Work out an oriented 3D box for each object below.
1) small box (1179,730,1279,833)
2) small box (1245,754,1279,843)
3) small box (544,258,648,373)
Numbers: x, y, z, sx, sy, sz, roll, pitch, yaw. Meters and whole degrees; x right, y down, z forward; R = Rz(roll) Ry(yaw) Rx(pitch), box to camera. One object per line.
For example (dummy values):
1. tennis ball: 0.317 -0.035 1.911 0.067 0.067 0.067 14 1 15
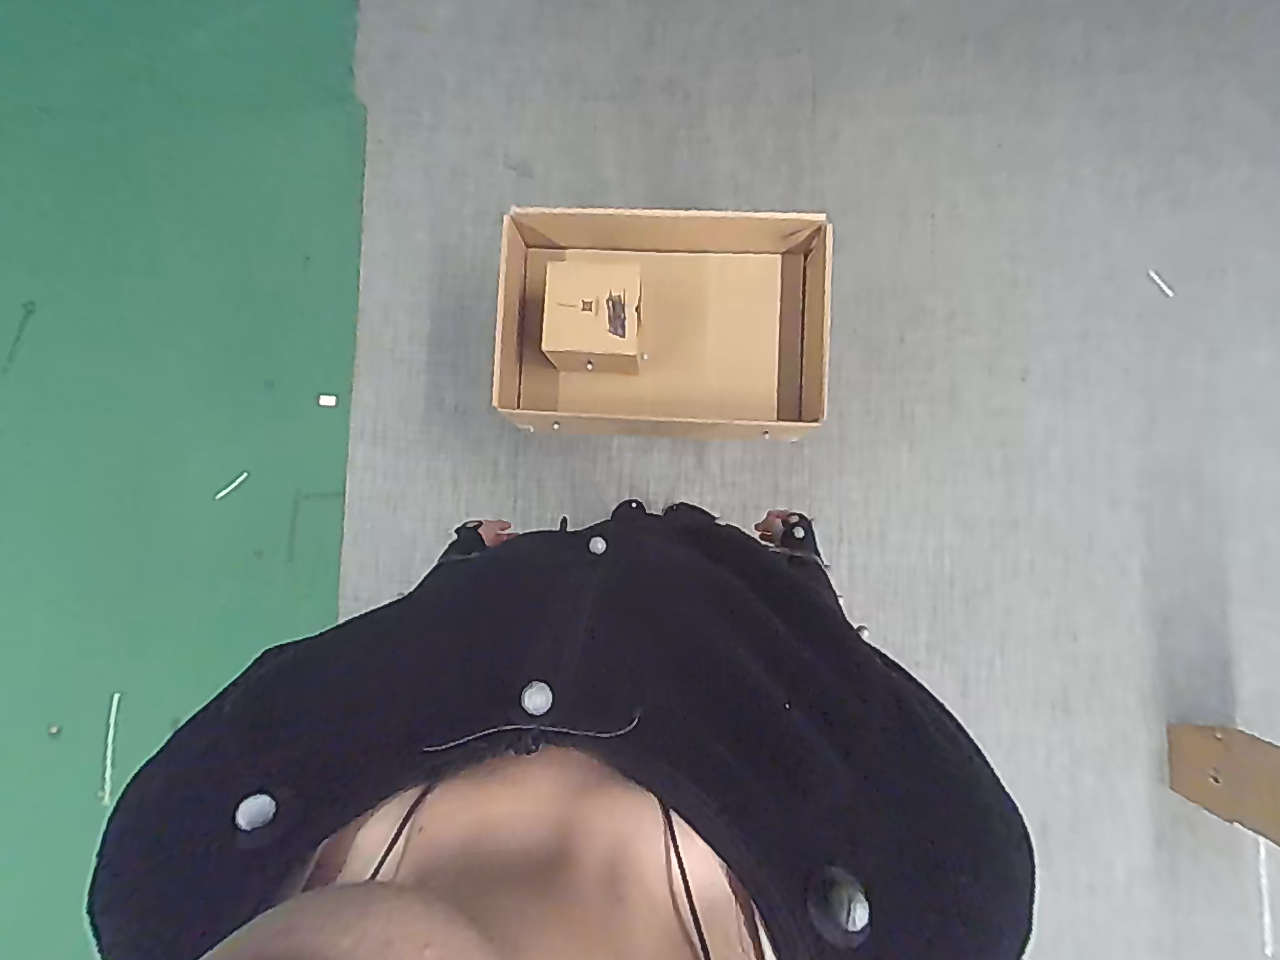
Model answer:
1. small box: 1.491 0.737 1.335 0.168 0.176 0.179 0 87 3
2. small box: 1.483 0.717 1.173 0.168 0.176 0.179 1 86 4
3. small box: -0.077 -0.309 1.047 0.179 0.176 0.168 4 87 3
